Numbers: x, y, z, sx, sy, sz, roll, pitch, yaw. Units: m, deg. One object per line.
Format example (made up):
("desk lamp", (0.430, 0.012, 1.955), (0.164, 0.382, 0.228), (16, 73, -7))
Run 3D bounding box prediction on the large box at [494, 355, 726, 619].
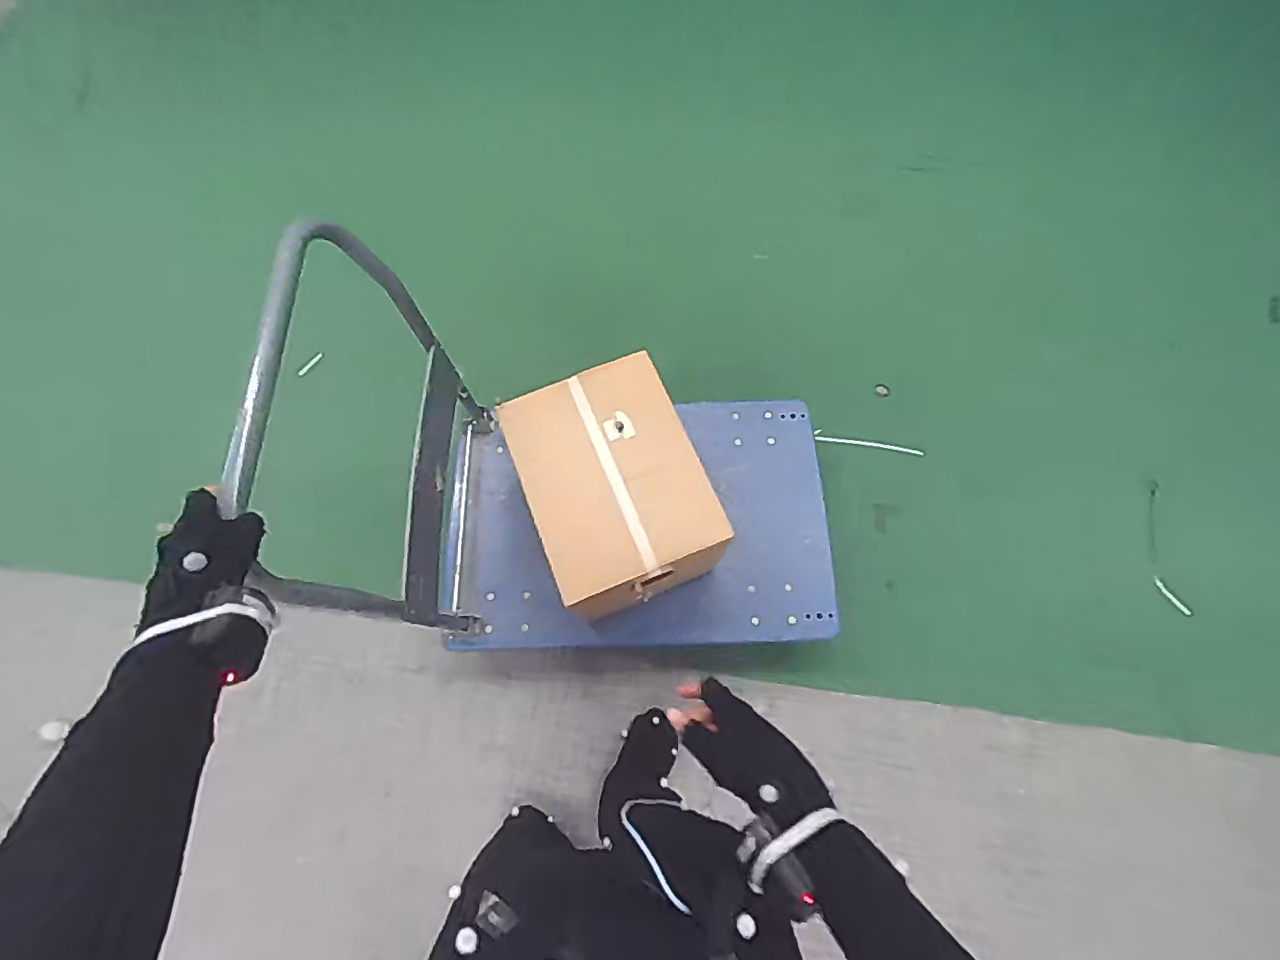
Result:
("large box", (-0.057, 0.030, 1.117), (0.320, 0.320, 0.408), (-21, 70, -6))
